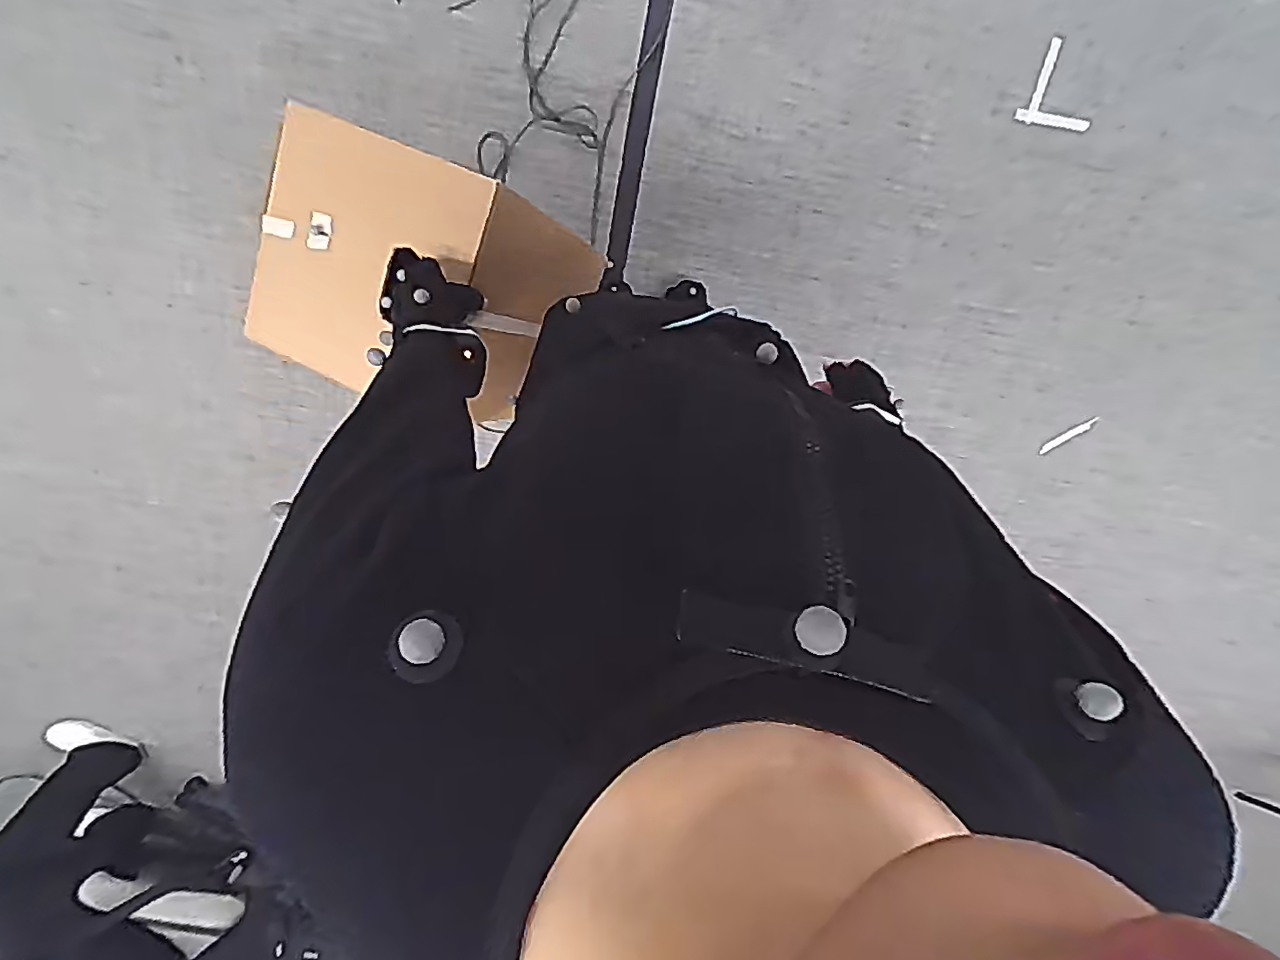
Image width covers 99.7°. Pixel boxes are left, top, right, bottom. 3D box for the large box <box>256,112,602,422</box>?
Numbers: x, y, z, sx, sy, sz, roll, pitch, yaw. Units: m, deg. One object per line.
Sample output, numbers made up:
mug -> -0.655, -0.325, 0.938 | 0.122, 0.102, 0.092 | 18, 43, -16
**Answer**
large box -> -0.312, -0.313, 0.886 | 0.320, 0.408, 0.320 | 27, 106, 8
